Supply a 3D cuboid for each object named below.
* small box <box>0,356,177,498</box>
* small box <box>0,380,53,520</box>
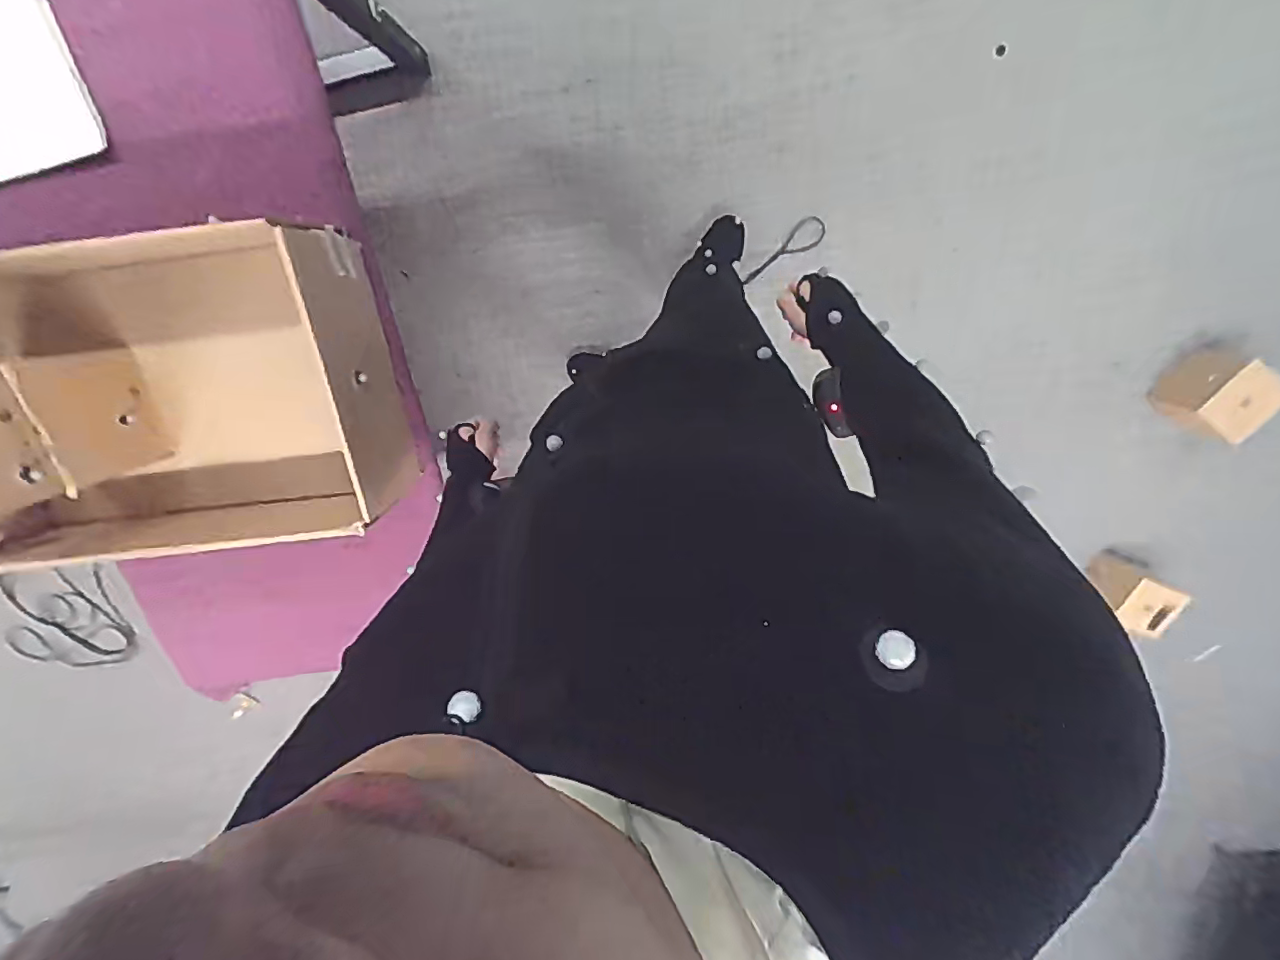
[{"bbox_3d":[-0.818,-0.072,0.752,0.179,0.176,0.168,-9,109,3],"label":"small box"},{"bbox_3d":[-0.827,-0.016,0.597,0.179,0.176,0.168,-10,109,4],"label":"small box"}]
